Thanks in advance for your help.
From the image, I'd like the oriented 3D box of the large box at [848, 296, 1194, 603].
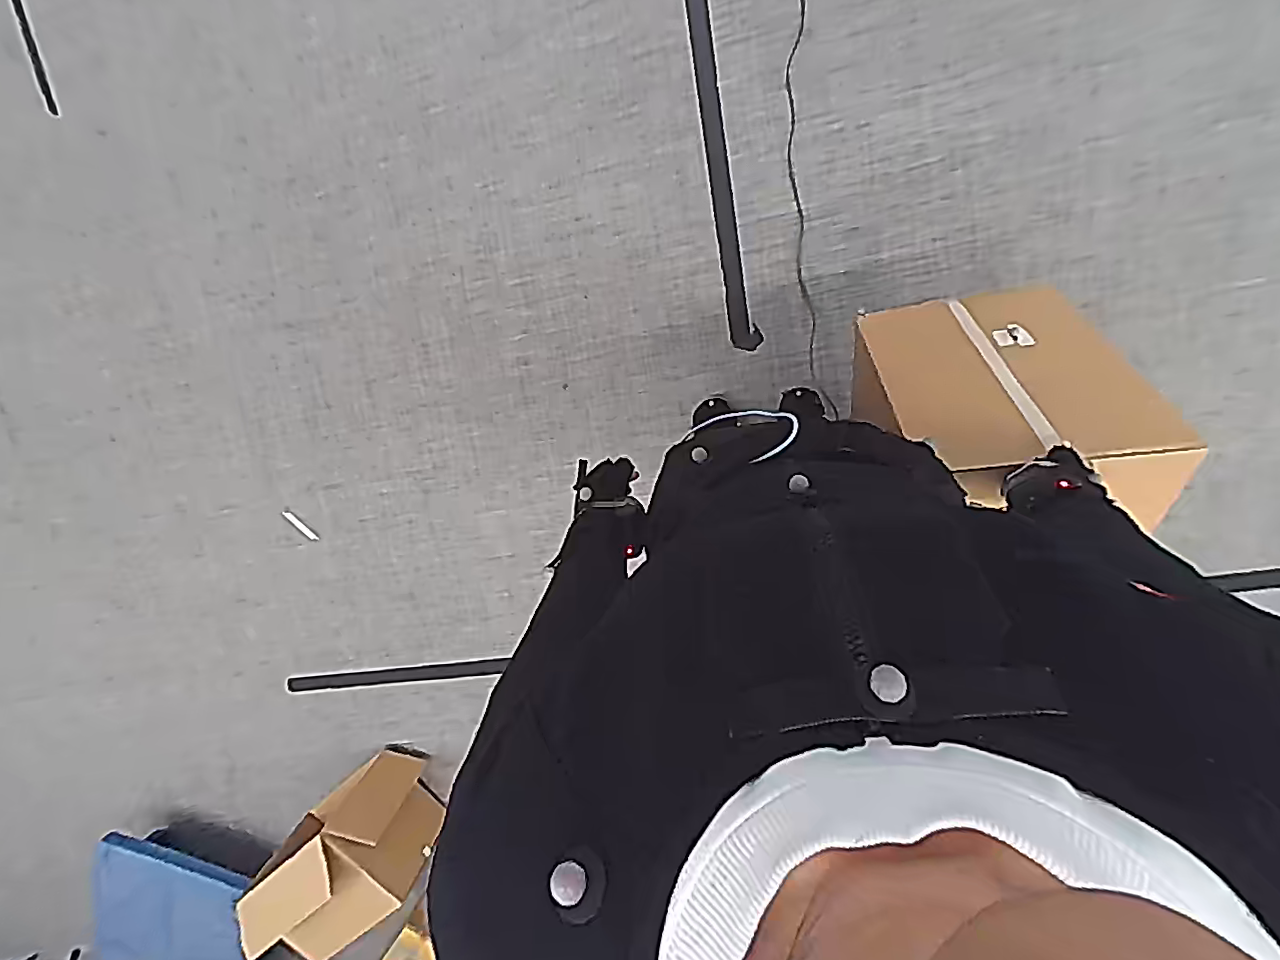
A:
[{"bbox_3d":[0.556,-0.053,0.909,0.320,0.408,0.320,-6,133,10],"label":"large box"}]
